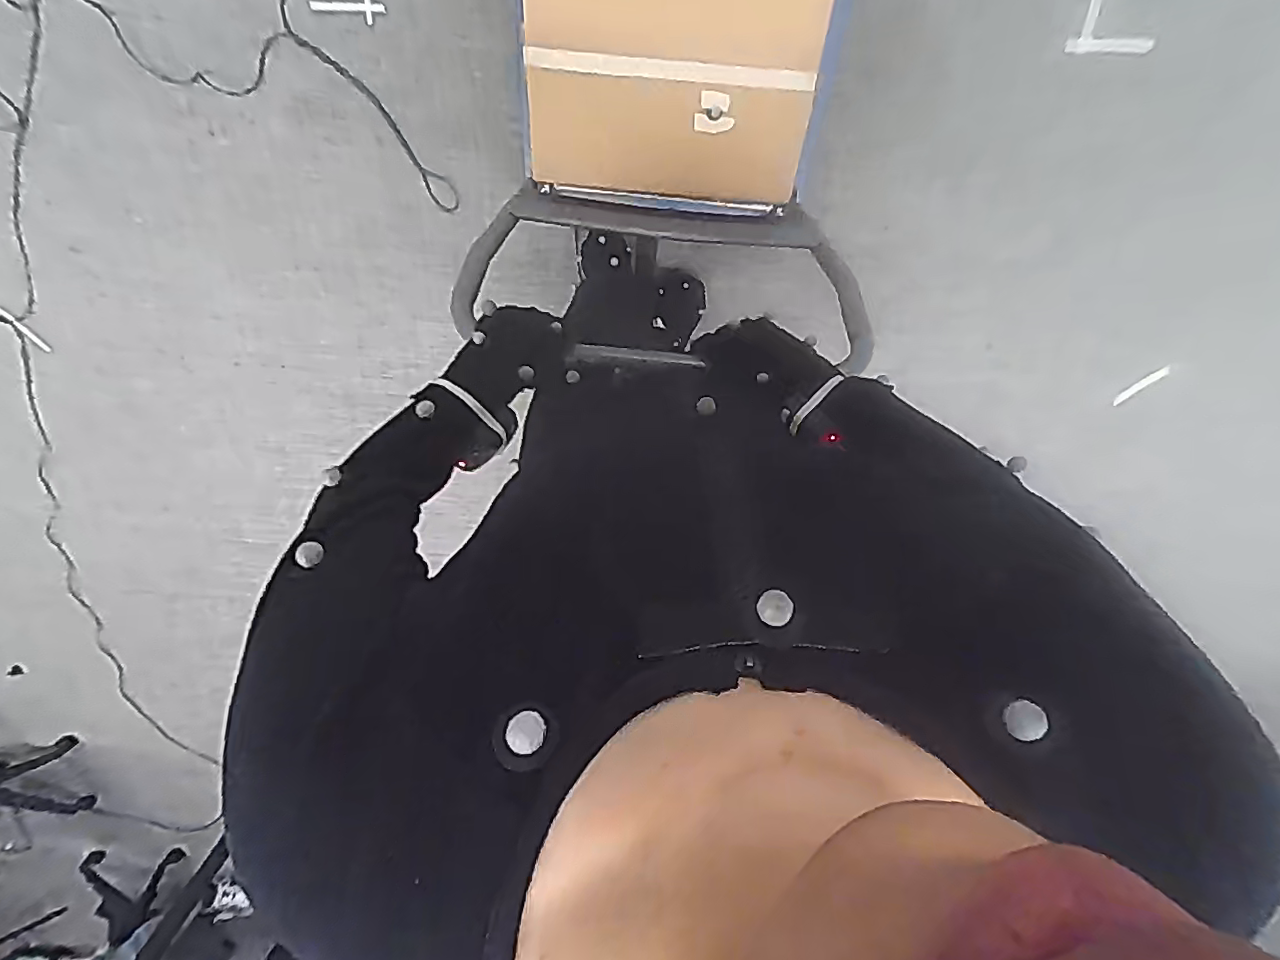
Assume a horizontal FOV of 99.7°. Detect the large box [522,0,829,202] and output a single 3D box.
[{"bbox_3d":[0.042,-0.655,0.861,0.408,0.320,0.320,4,130,-2],"label":"large box"}]
